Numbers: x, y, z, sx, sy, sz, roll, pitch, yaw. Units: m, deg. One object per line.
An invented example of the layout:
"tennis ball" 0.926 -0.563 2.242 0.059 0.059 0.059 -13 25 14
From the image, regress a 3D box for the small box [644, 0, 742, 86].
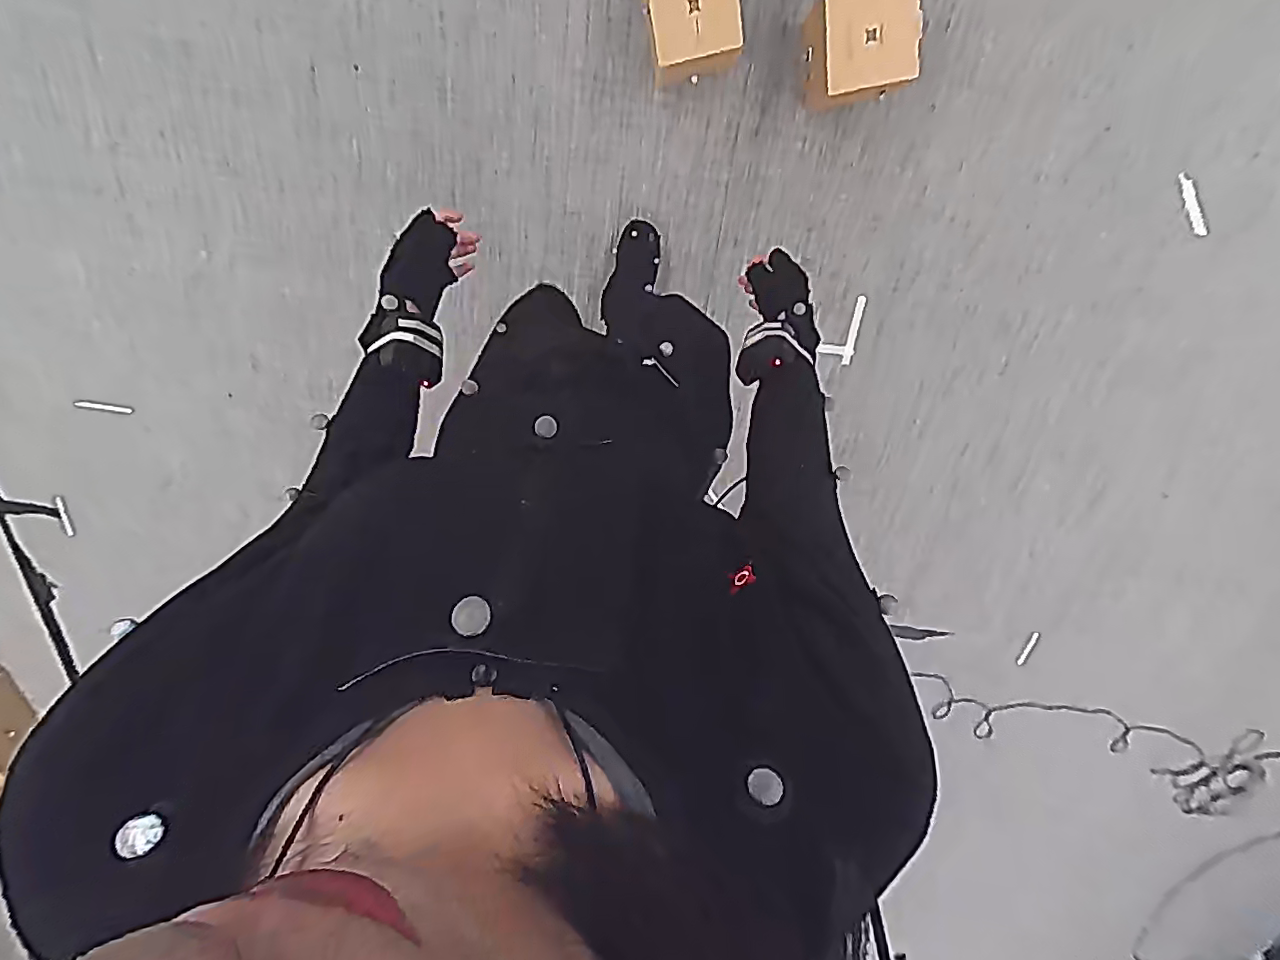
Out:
"small box" 0.099 -0.915 1.064 0.168 0.176 0.179 -10 115 6

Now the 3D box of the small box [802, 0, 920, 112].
"small box" 0.435 -0.864 1.082 0.179 0.176 0.168 -9 114 6
